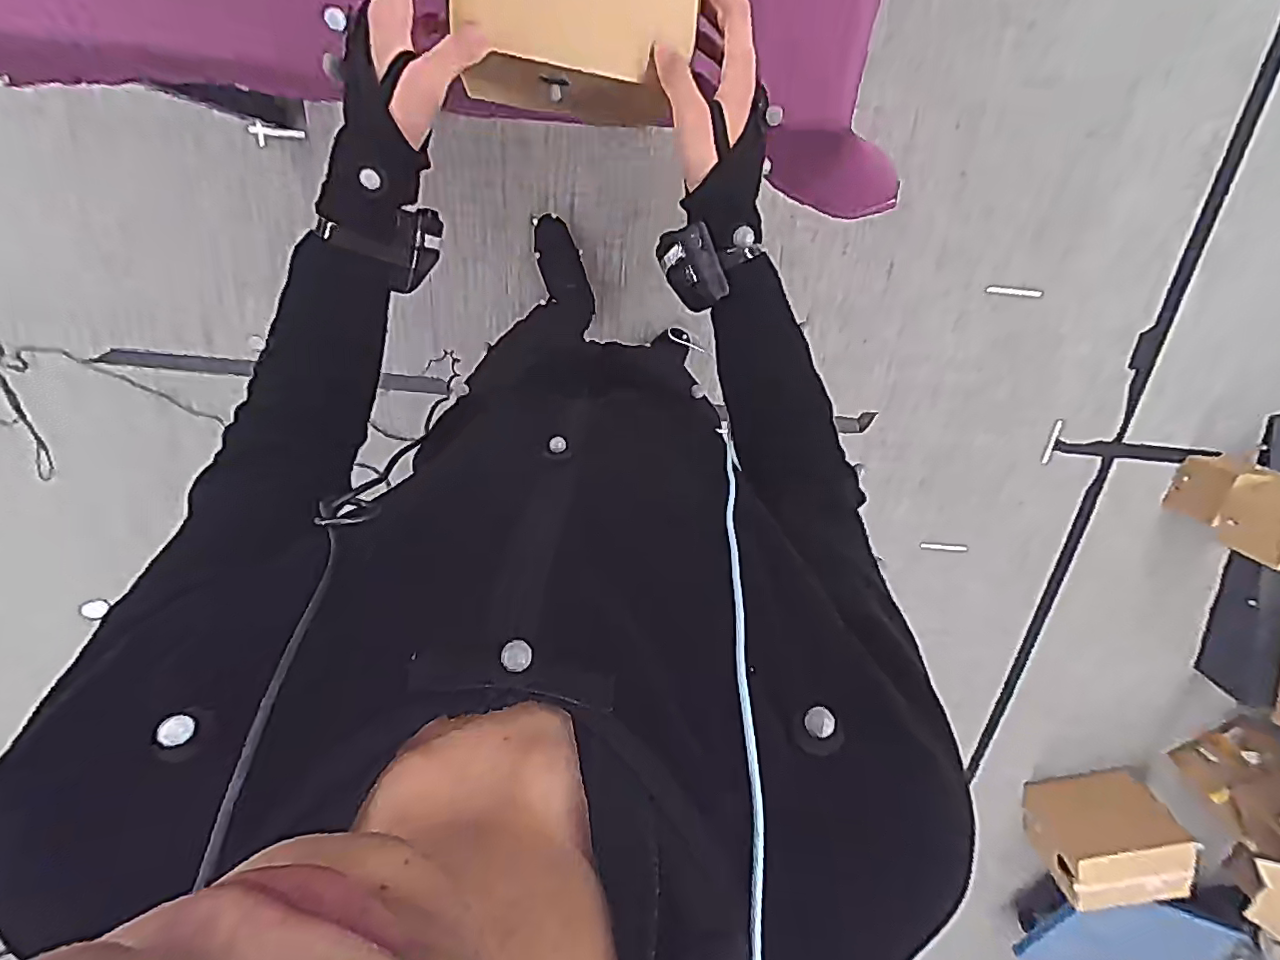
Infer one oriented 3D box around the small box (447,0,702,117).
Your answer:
[{"bbox_3d":[-0.050,-0.409,0.427,0.179,0.176,0.168,3,114,-14],"label":"small box"}]
